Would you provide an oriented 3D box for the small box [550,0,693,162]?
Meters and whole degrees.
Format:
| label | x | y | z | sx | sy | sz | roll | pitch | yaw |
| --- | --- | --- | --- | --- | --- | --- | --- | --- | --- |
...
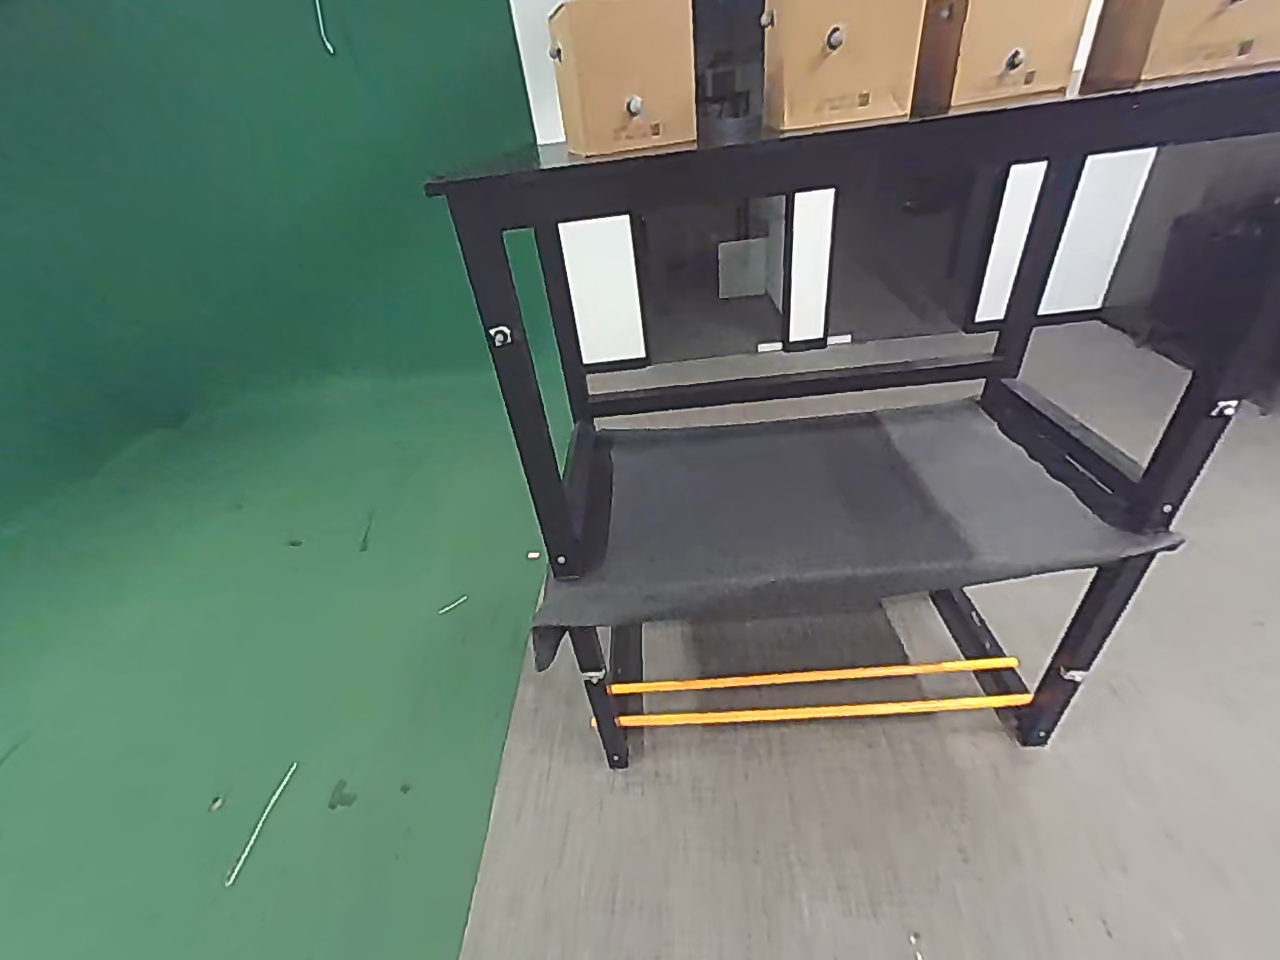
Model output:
| label | x | y | z | sx | sy | sz | roll | pitch | yaw |
| --- | --- | --- | --- | --- | --- | --- | --- | --- | --- |
| small box | -0.028 | -0.570 | 0.785 | 0.168 | 0.176 | 0.179 | -14 | 36 | -8 |

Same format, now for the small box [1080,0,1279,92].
| label | x | y | z | sx | sy | sz | roll | pitch | yaw |
| --- | --- | --- | --- | --- | --- | --- | --- | --- | --- |
| small box | 0.734 | -0.627 | 0.713 | 0.168 | 0.176 | 0.179 | 2 | 36 | 13 |
